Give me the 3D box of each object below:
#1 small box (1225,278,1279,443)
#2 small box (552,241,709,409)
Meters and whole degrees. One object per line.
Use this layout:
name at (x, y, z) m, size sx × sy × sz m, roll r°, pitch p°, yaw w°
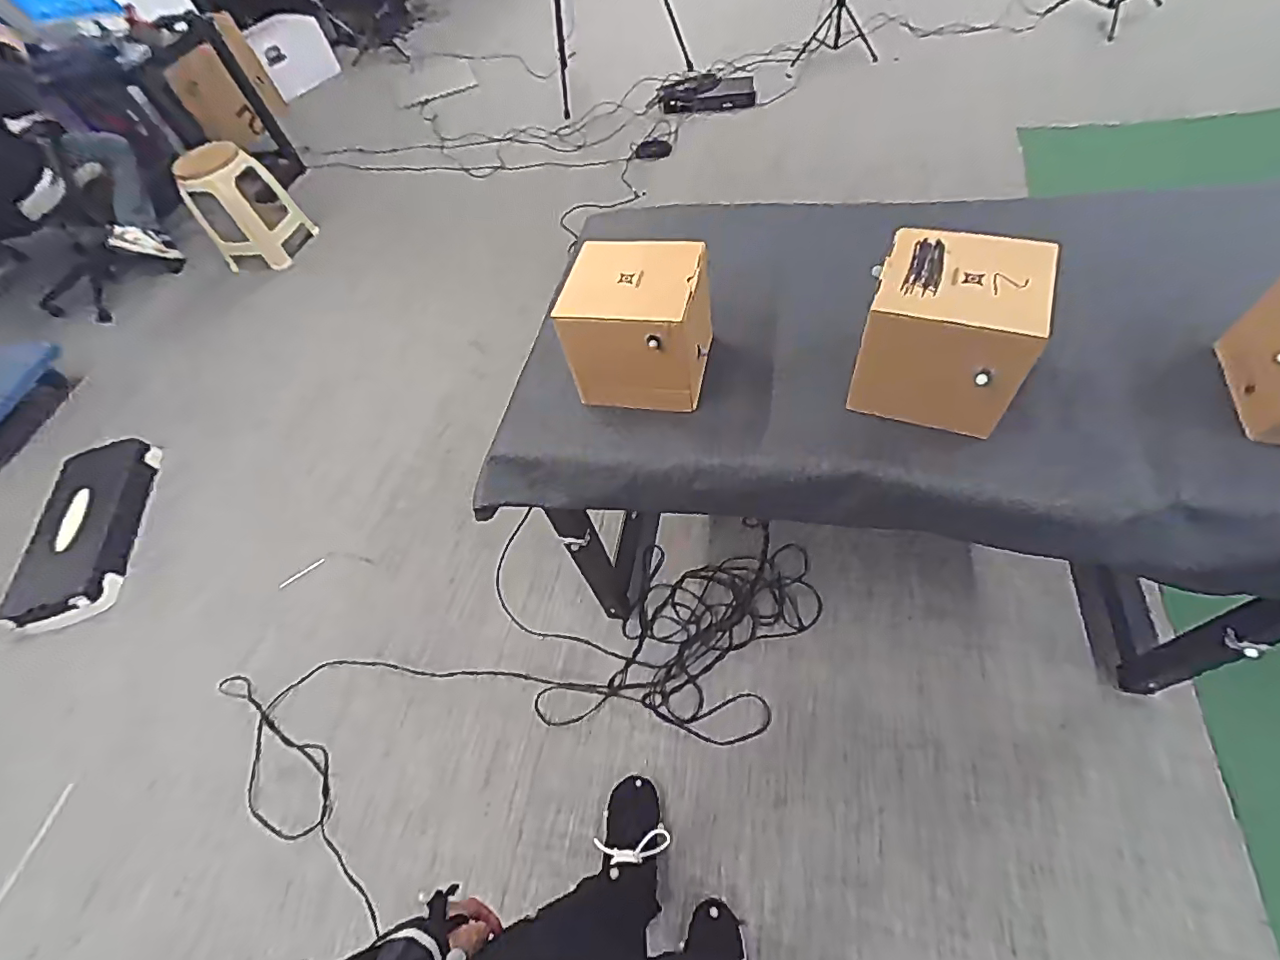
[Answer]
small box at (0.787, -0.140, 0.572) m, size 0.179 × 0.176 × 0.168 m, roll 9°, pitch 59°, yaw 16°
small box at (-0.001, -0.218, 0.776) m, size 0.179 × 0.176 × 0.168 m, roll 6°, pitch 57°, yaw 14°
